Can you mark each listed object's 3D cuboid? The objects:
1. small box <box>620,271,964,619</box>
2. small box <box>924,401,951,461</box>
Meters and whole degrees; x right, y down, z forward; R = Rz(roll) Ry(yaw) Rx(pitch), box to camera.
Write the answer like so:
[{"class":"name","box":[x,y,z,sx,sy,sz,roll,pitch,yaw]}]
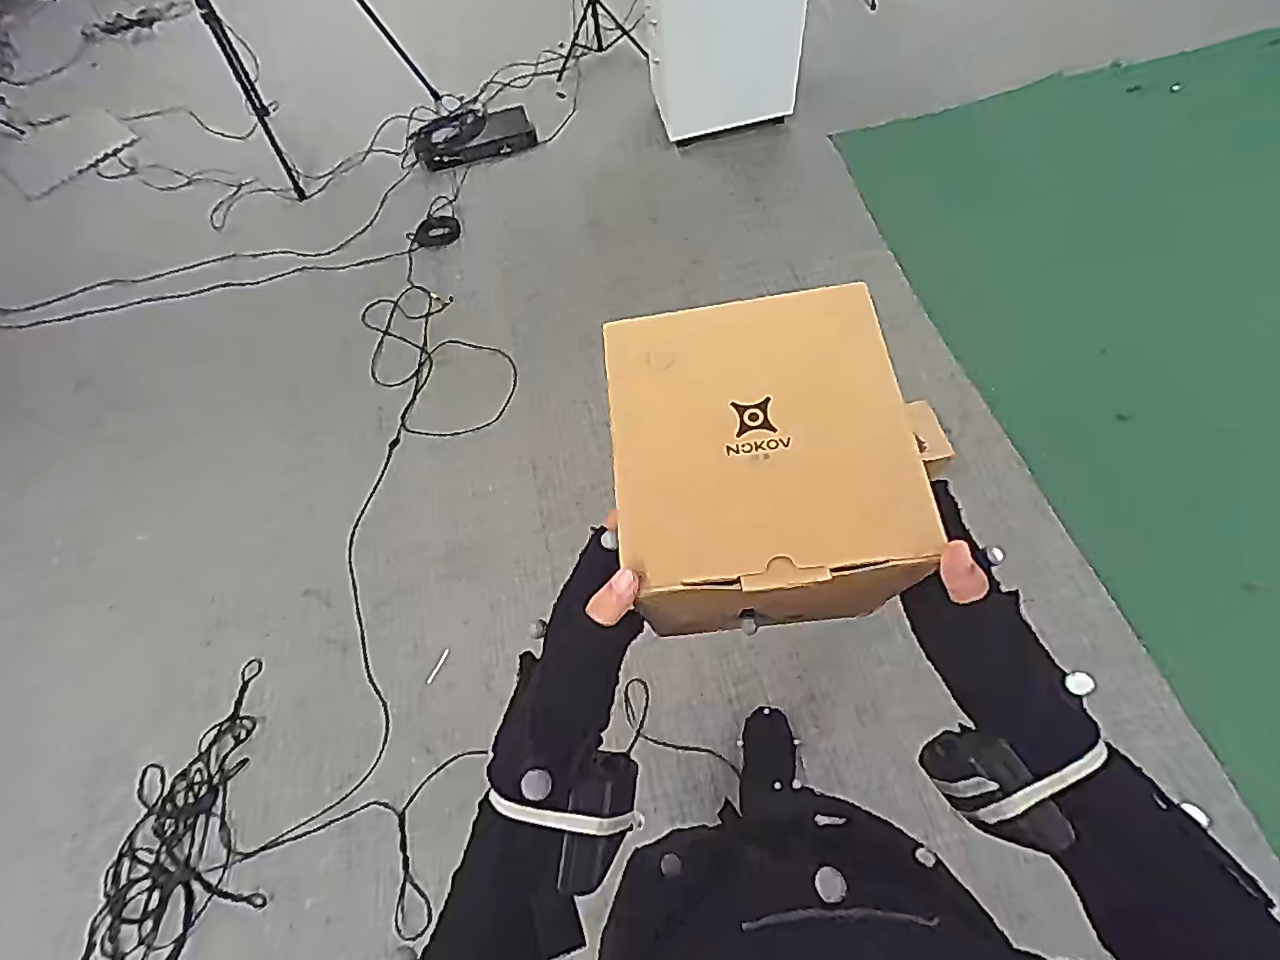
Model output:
[{"class":"small box","box":[0.082,-0.009,0.378,0.168,0.176,0.179,-8,67,5]},{"class":"small box","box":[0.692,-0.083,1.454,0.168,0.176,0.179,-12,63,0]}]
